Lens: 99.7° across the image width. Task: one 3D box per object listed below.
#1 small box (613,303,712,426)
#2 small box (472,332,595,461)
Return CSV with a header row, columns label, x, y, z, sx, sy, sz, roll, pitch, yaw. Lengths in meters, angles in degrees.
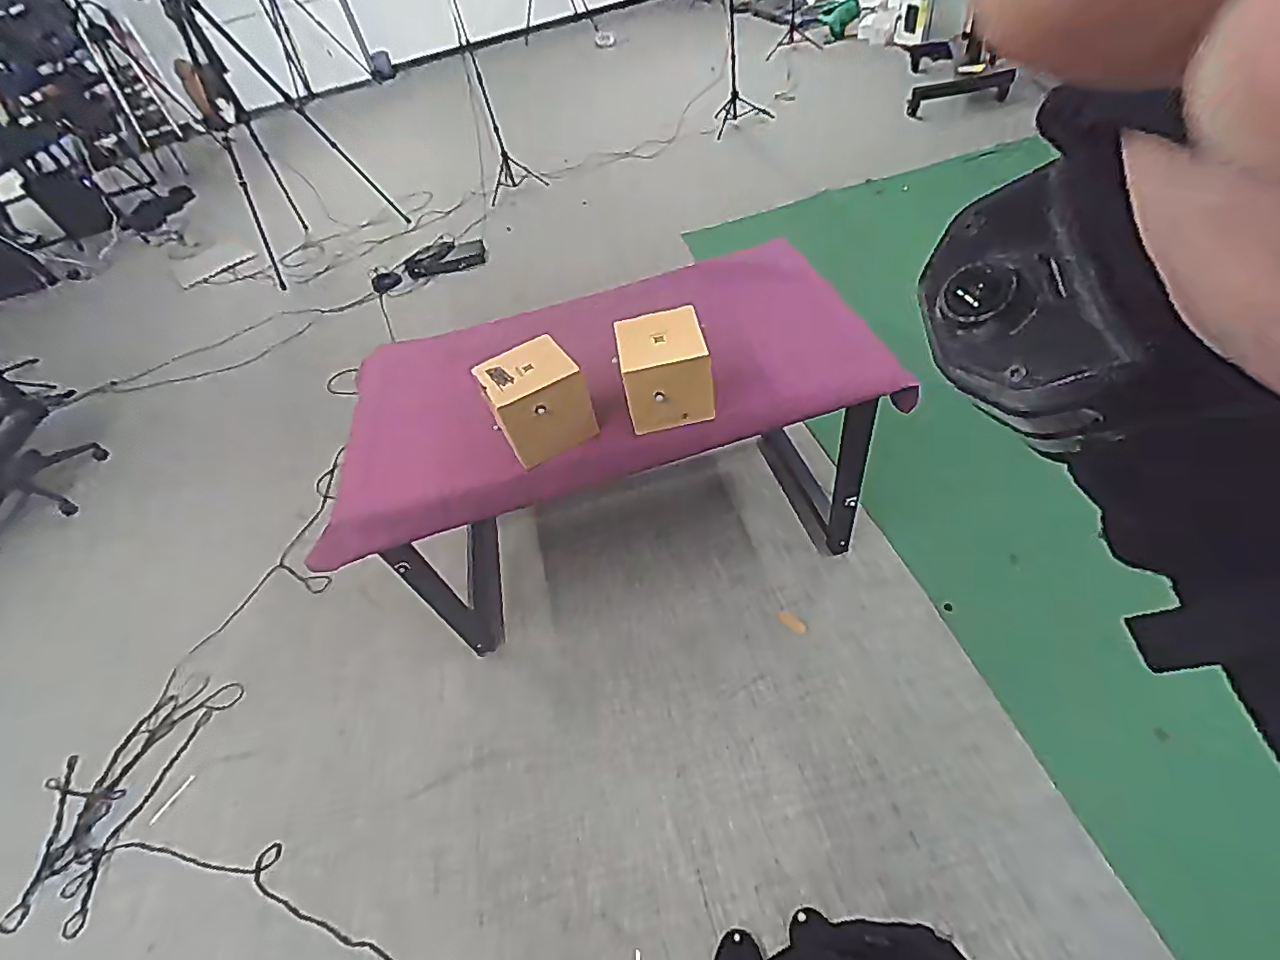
label,x,y,z,sx,sy,sz,roll,pitch,yaw
small box,0.047,-0.228,1.105,0.168,0.176,0.179,-12,48,3
small box,-0.215,-0.169,1.110,0.179,0.176,0.168,-28,49,-13
